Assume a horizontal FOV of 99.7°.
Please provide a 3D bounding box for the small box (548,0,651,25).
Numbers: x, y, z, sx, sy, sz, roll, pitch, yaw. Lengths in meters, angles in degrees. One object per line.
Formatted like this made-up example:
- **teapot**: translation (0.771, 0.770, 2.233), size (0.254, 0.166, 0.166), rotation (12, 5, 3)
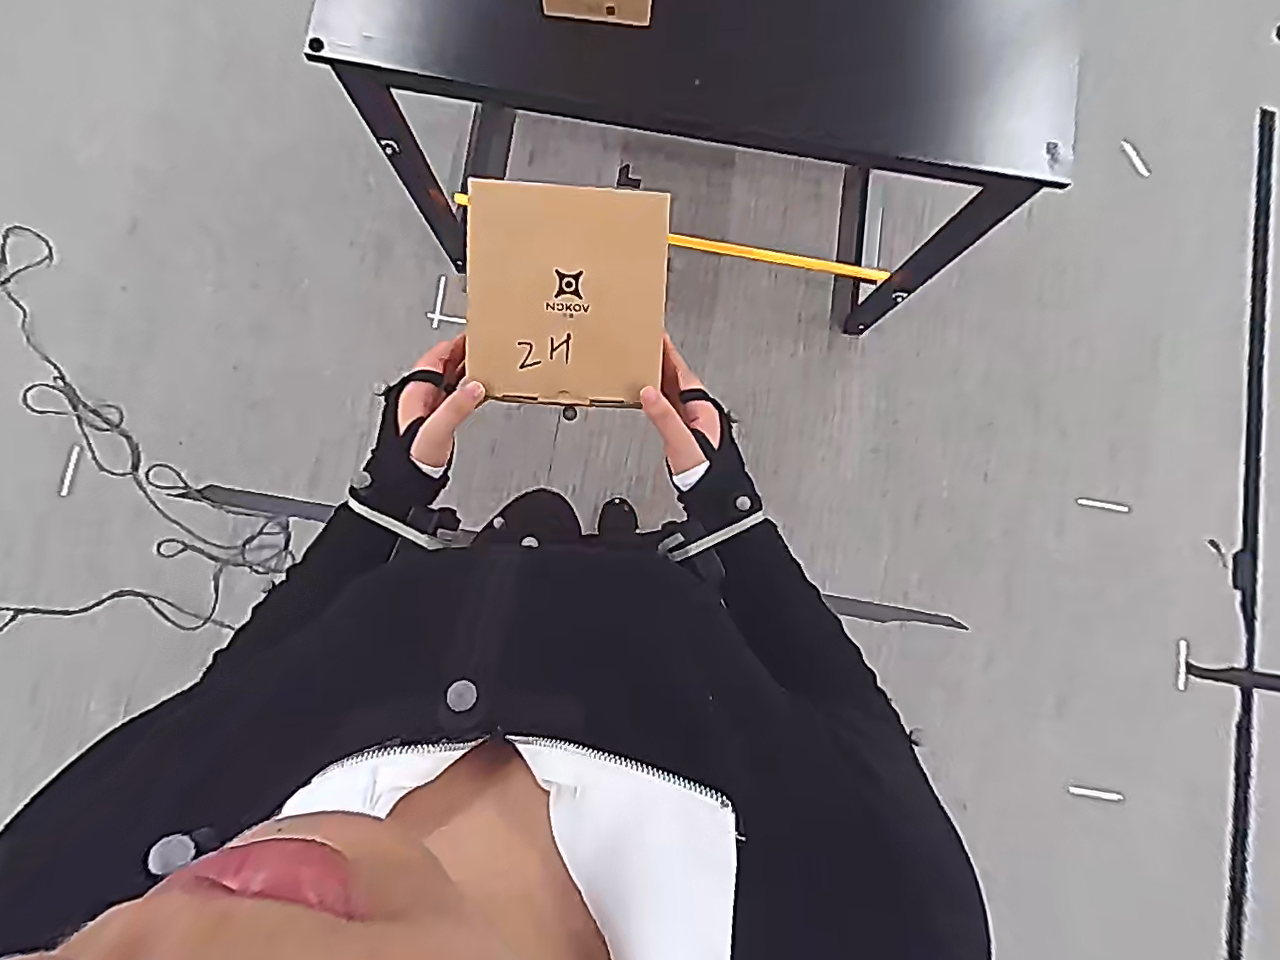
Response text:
- **small box**: translation (-0.058, -0.812, 0.782), size (0.168, 0.176, 0.179), rotation (5, 85, -2)

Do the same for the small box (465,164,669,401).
- **small box**: translation (-0.066, -0.174, 0.531), size (0.168, 0.176, 0.179), rotation (2, 95, -3)
